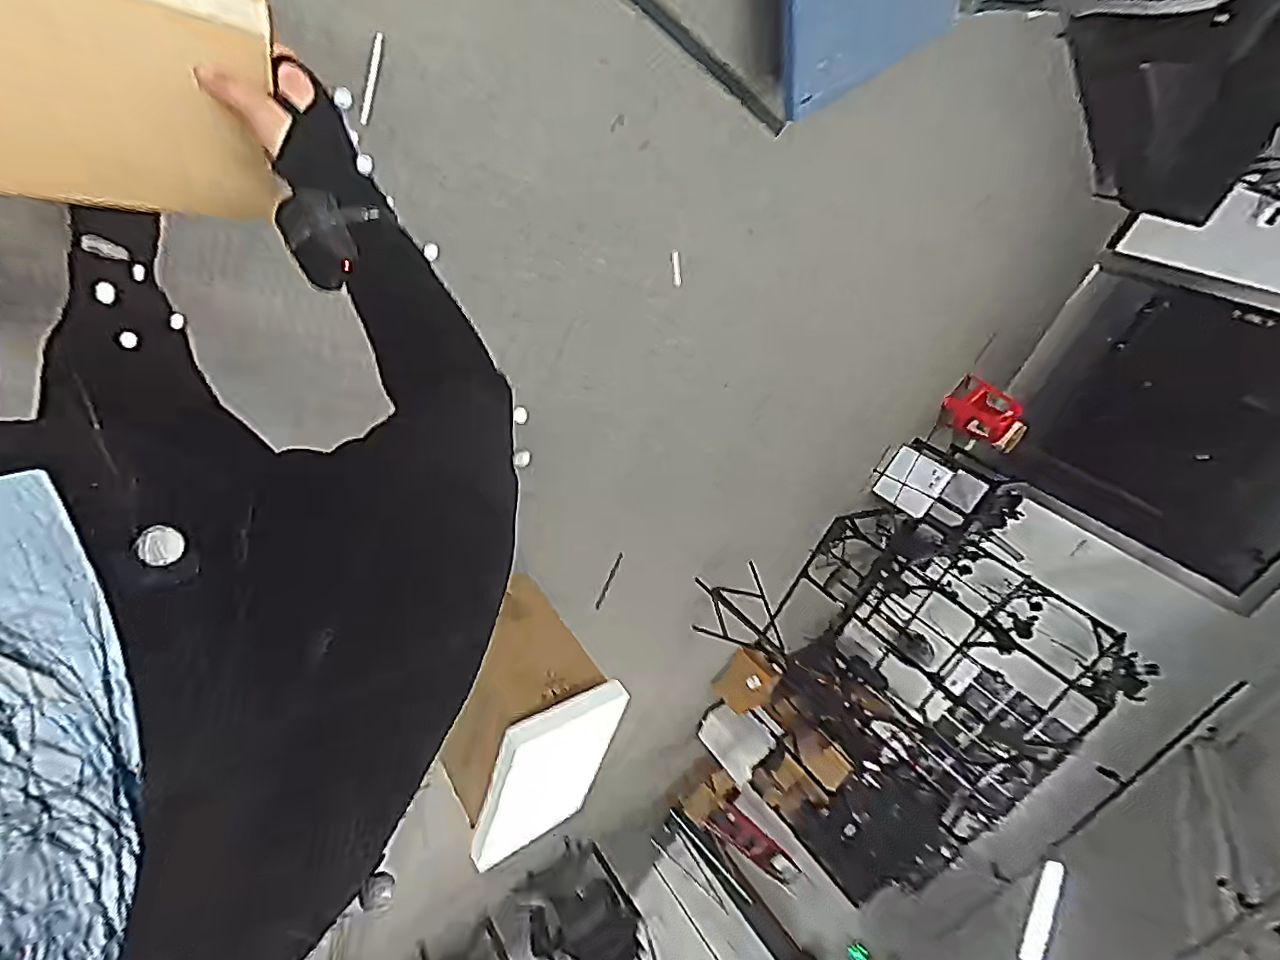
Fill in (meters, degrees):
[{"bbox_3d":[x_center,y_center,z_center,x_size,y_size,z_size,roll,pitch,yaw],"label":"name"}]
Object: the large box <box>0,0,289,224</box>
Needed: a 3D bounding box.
[{"bbox_3d":[-0.532,-0.412,0.393,0.408,0.320,0.320,-13,131,-39],"label":"large box"}]
